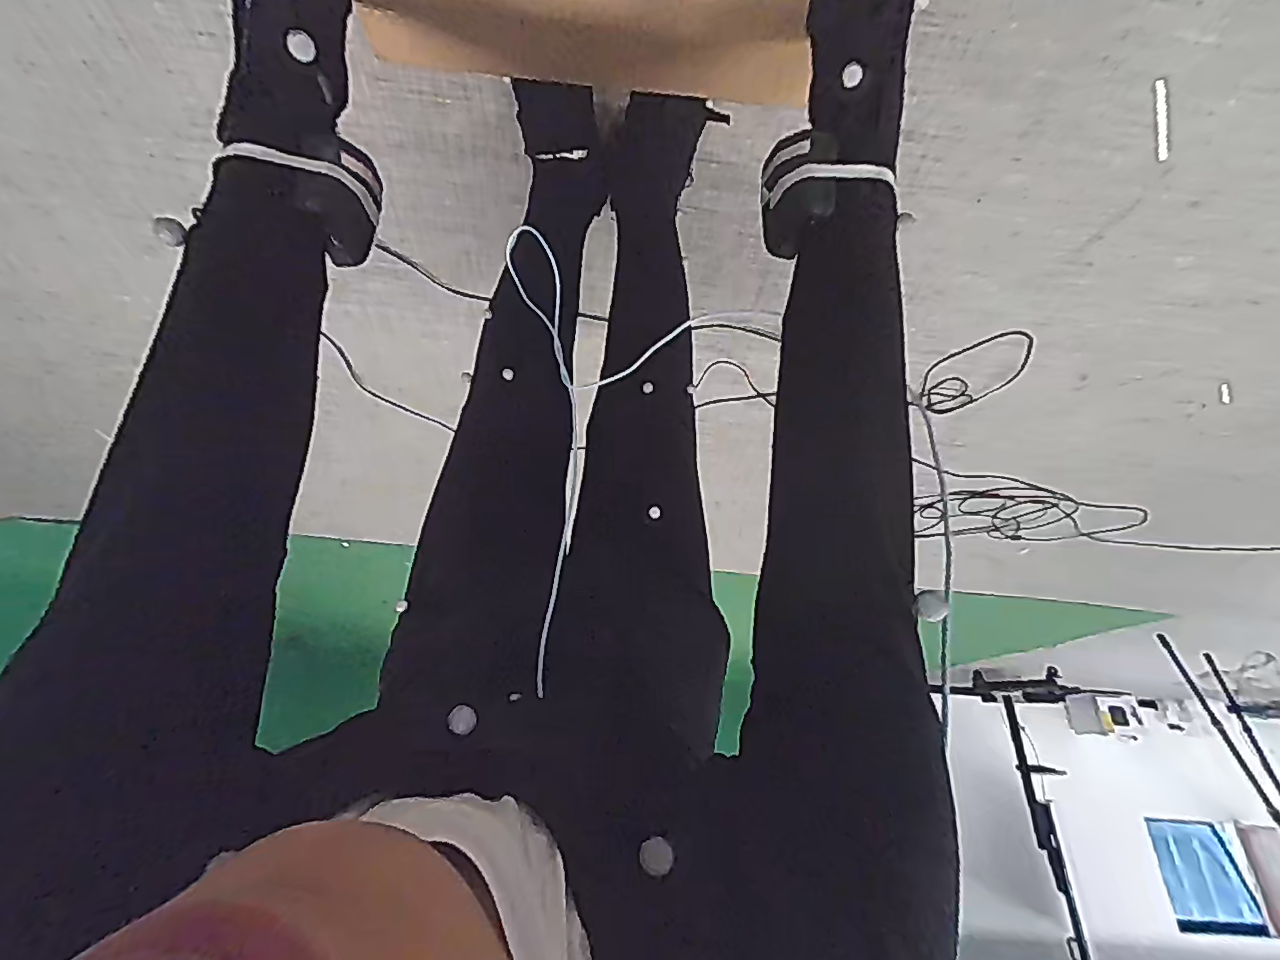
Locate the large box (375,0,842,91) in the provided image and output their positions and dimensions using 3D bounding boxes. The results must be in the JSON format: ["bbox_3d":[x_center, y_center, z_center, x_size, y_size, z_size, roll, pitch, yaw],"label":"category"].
[{"bbox_3d":[-0.017,-0.581,0.440,0.408,0.320,0.320,5,153,-1],"label":"large box"}]
